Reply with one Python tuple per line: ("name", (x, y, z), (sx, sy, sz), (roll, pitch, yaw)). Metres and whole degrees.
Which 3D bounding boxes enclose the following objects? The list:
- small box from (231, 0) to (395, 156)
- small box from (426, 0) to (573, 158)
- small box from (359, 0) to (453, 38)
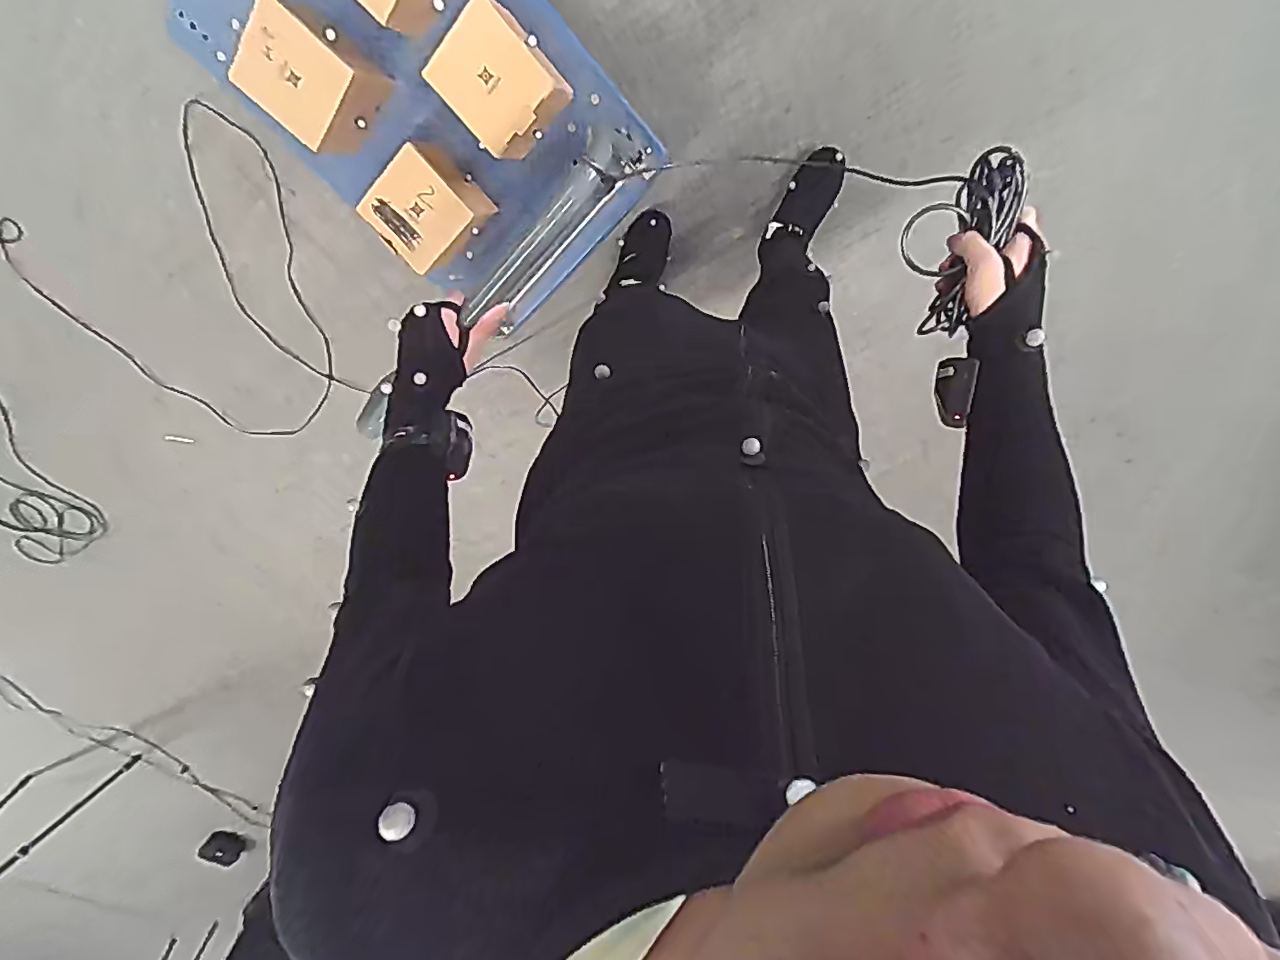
("small box", (-0.602, -0.748, 1.018), (0.179, 0.176, 0.168), (40, 115, -17))
("small box", (-0.249, -0.727, 0.999), (0.168, 0.176, 0.179), (-37, 111, 24))
("small box", (-0.422, -0.898, 0.912), (0.179, 0.176, 0.168), (41, 117, -19))
